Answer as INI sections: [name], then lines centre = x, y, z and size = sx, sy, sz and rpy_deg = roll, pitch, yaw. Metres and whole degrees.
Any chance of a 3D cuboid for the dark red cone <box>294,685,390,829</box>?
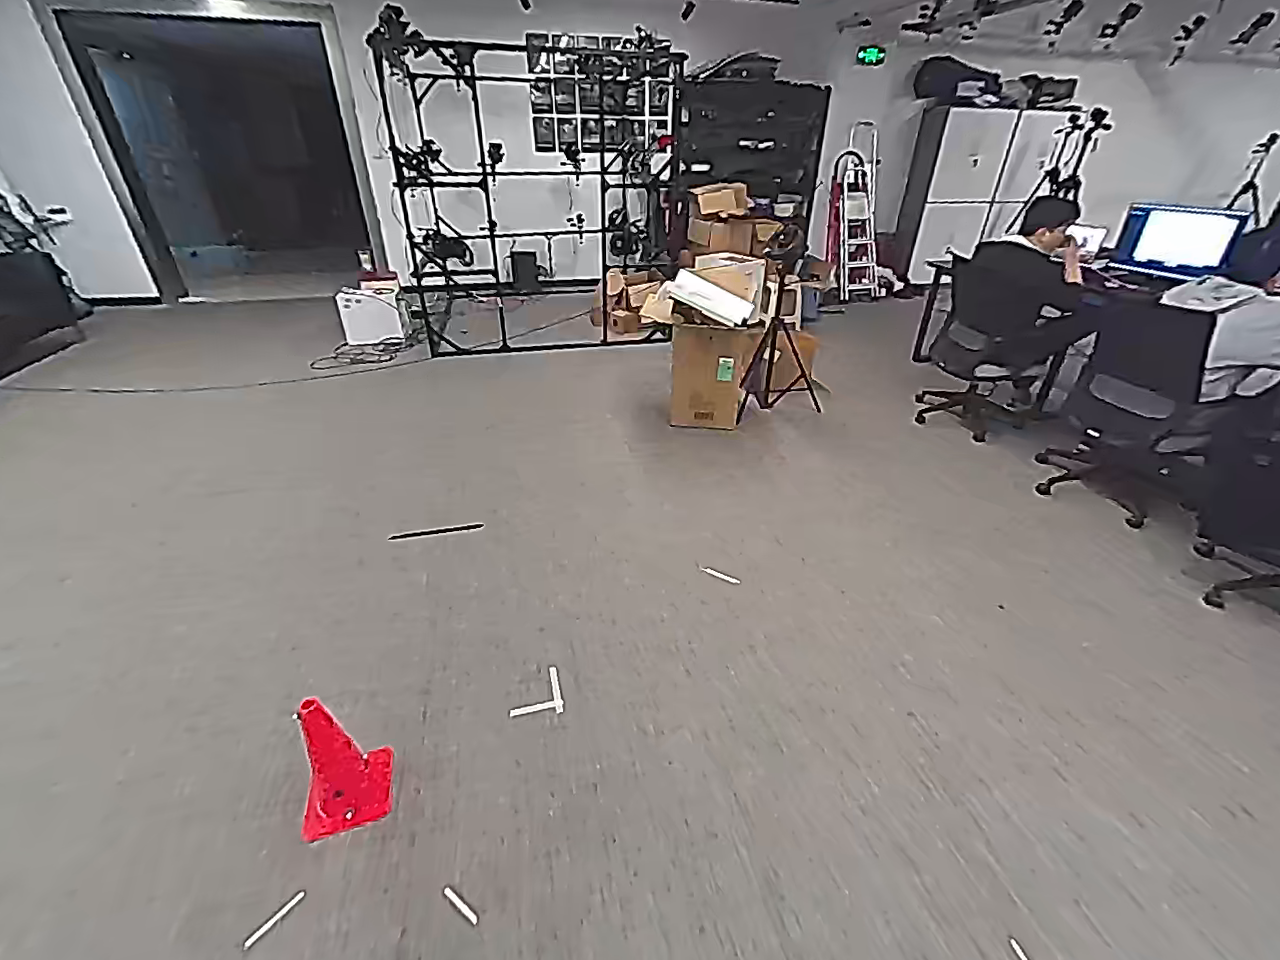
[dark red cone]
centre = -0.747, 0.630, 1.291
size = 0.202, 0.394, 0.201
rpy_deg = -10, 34, -17
